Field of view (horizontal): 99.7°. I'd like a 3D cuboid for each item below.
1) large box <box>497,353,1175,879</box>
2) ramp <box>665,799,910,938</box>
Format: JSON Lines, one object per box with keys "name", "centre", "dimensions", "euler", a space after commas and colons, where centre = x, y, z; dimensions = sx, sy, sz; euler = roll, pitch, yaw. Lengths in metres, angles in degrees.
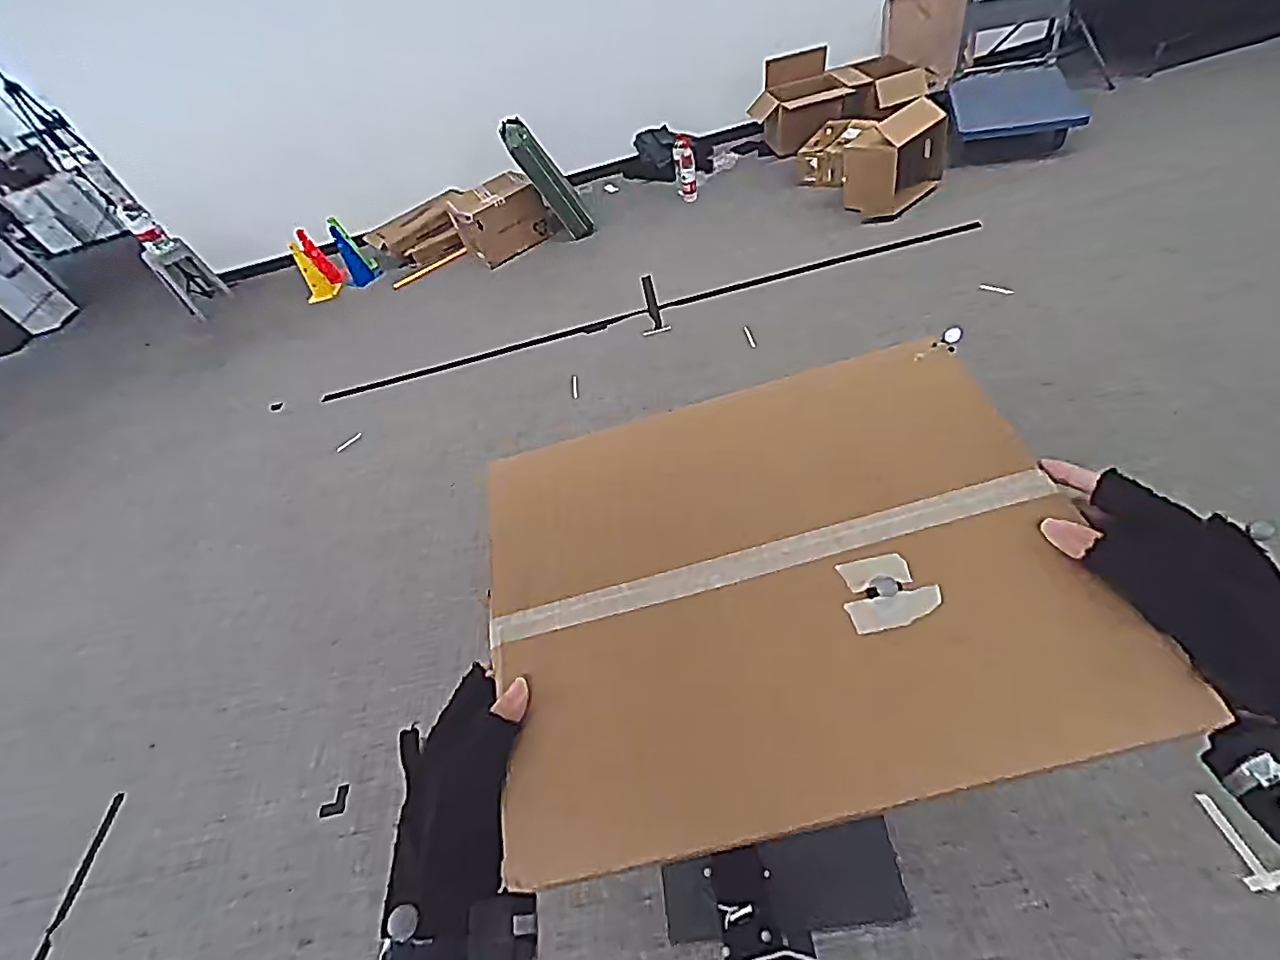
{"name": "large box", "centre": [0.117, 0.143, 0.523], "dimensions": [0.408, 0.320, 0.320], "euler": [-16, 56, 3]}
{"name": "ramp", "centre": [0.252, 0.489, 1.363], "dimensions": [0.509, 0.206, 0.991], "euler": [-12, 48, 5]}
